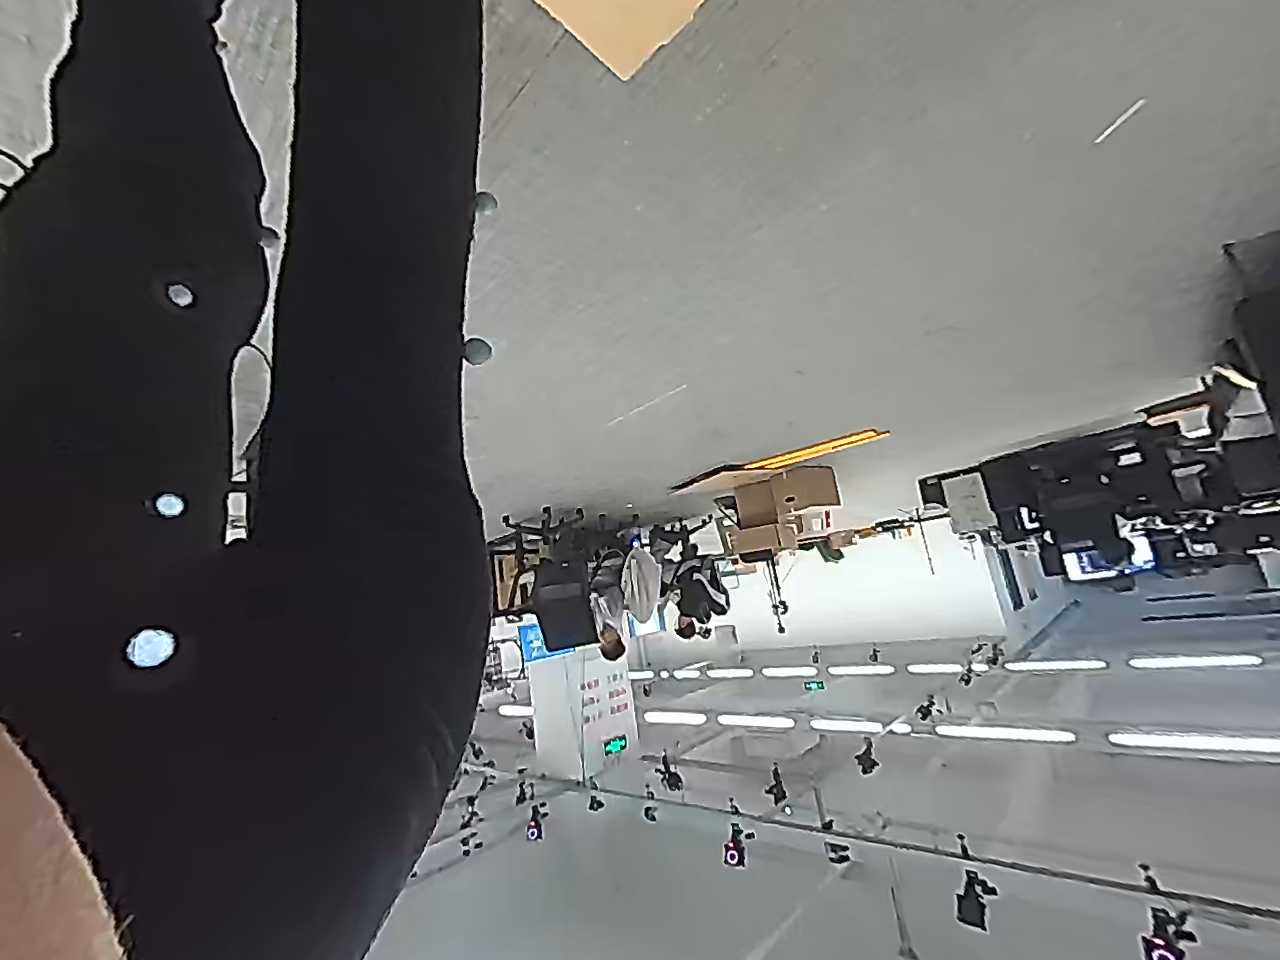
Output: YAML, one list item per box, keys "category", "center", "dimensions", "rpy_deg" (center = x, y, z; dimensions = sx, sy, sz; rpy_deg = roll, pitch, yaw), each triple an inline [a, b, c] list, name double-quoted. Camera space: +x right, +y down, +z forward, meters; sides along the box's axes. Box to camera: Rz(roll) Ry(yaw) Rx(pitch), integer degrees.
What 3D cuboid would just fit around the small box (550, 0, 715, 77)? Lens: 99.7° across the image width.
- category: "small box"
  center: [-0.015, -0.583, 0.548]
  dimensions: [0.168, 0.176, 0.179]
  rpy_deg: [-18, 165, 39]
